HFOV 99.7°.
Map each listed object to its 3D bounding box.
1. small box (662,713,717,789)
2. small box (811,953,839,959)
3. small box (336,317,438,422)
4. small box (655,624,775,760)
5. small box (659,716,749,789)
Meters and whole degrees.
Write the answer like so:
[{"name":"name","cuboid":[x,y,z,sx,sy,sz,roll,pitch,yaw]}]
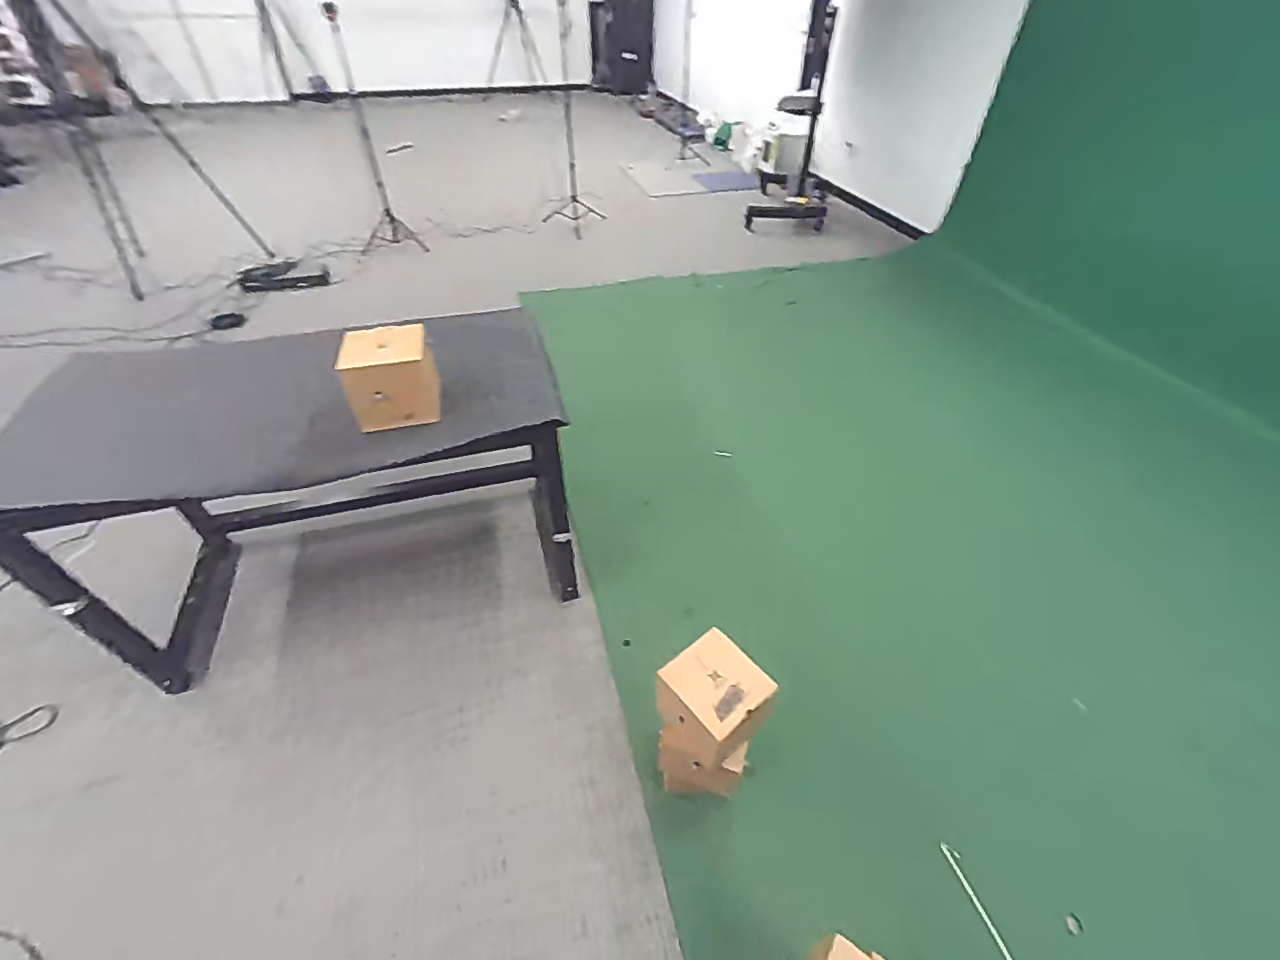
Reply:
[{"name":"small box","cuboid":[0.142,0.657,1.351,0.179,0.176,0.168,1,45,0]},{"name":"small box","cuboid":[0.315,1.013,0.988,0.179,0.176,0.168,-17,47,-19]},{"name":"small box","cuboid":[-0.561,-0.244,1.222,0.168,0.176,0.179,-11,44,-12]},{"name":"small box","cuboid":[0.147,0.440,1.106,0.168,0.176,0.179,-30,51,-26]},{"name":"small box","cuboid":[0.147,0.564,1.215,0.179,0.176,0.168,16,48,14]}]
